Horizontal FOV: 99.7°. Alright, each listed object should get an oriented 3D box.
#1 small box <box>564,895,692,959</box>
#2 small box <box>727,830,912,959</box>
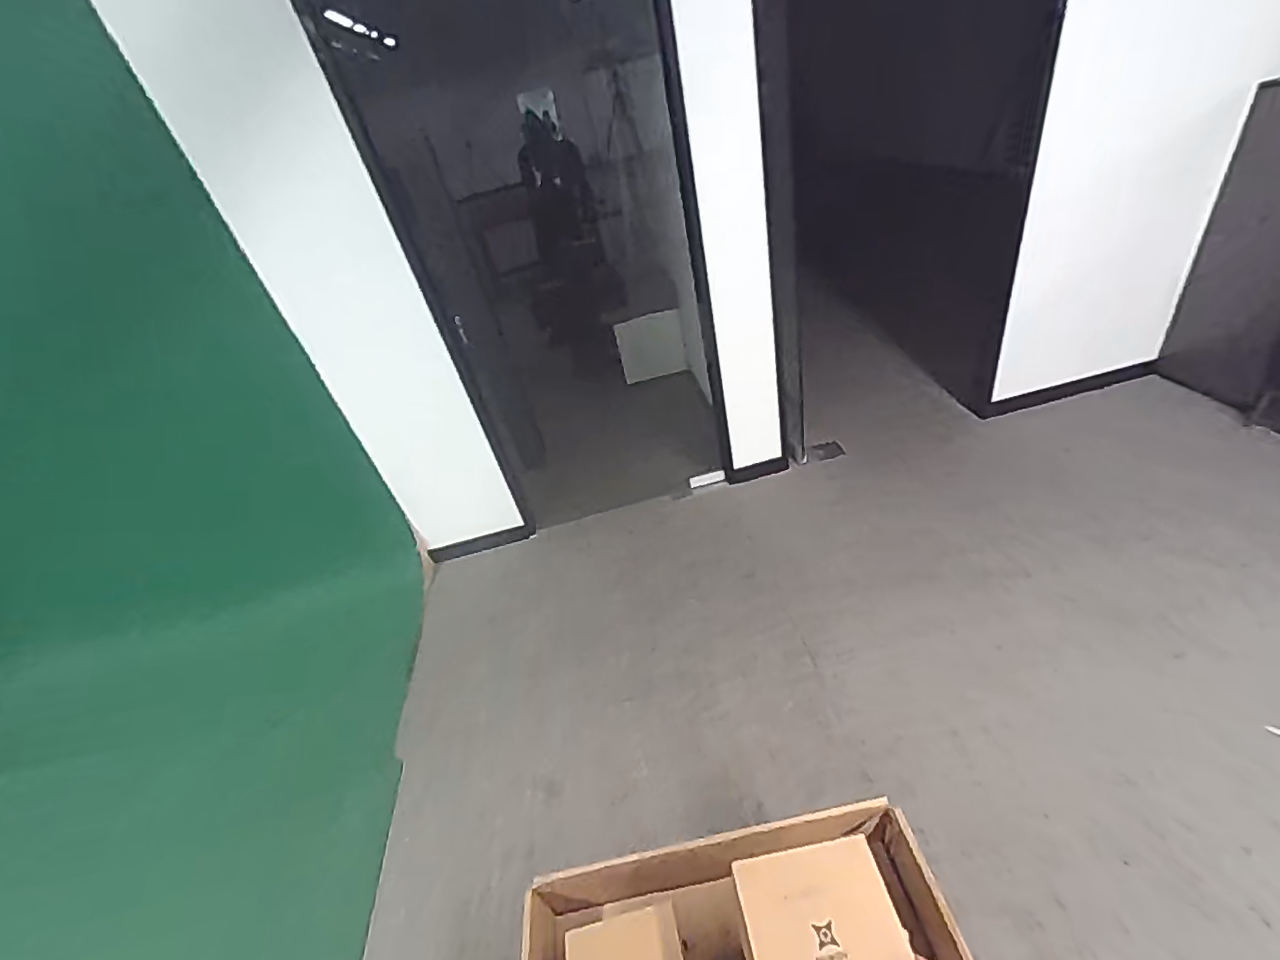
[{"bbox_3d":[-0.005,0.739,0.767,0.168,0.176,0.179,-15,36,-1],"label":"small box"},{"bbox_3d":[0.203,0.542,0.624,0.168,0.176,0.179,-10,40,-2],"label":"small box"}]
